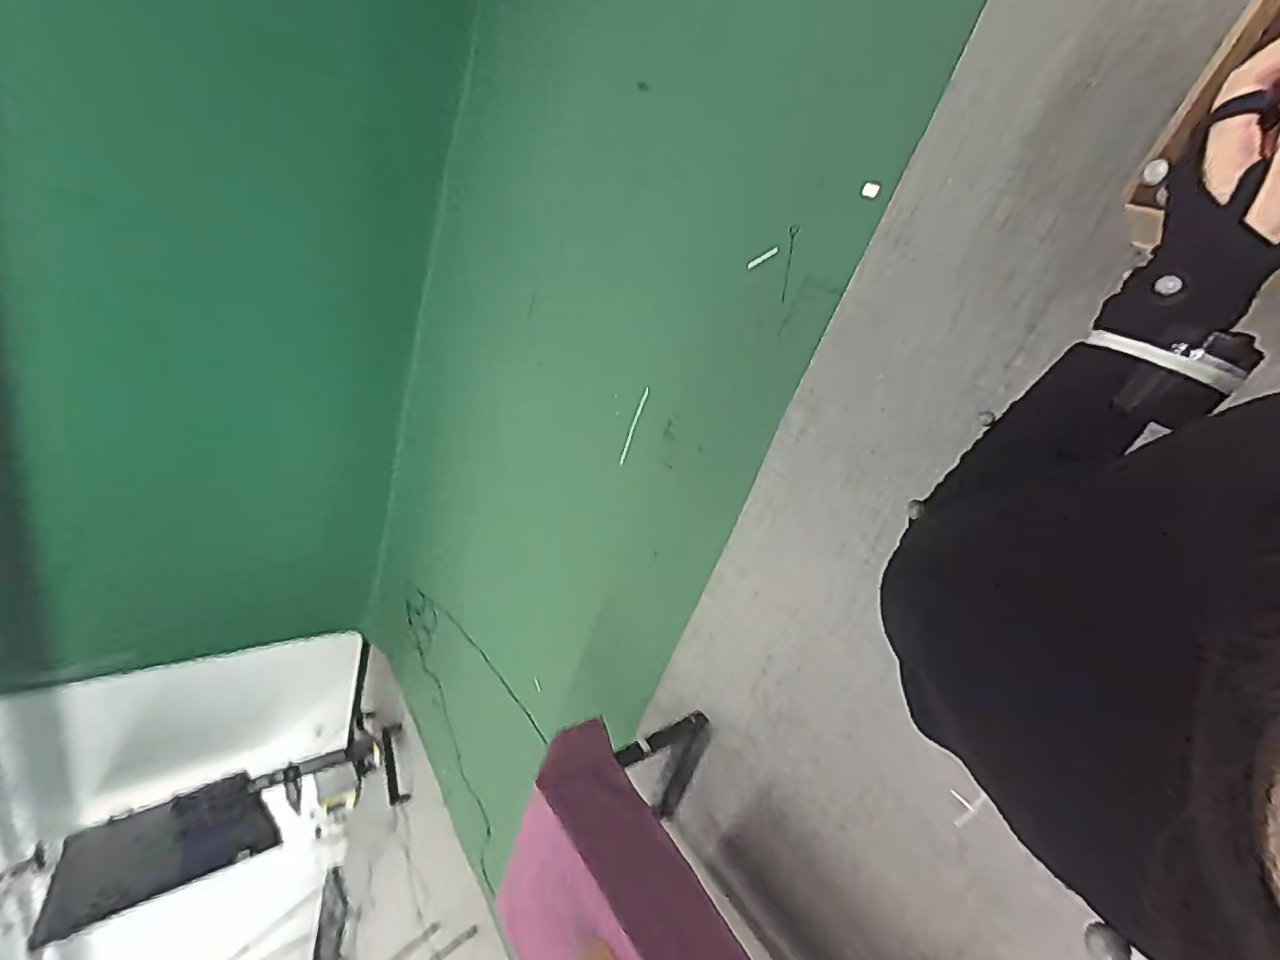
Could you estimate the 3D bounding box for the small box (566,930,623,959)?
[{"bbox_3d":[-0.123,1.255,1.305,0.179,0.176,0.168,45,122,38],"label":"small box"}]
